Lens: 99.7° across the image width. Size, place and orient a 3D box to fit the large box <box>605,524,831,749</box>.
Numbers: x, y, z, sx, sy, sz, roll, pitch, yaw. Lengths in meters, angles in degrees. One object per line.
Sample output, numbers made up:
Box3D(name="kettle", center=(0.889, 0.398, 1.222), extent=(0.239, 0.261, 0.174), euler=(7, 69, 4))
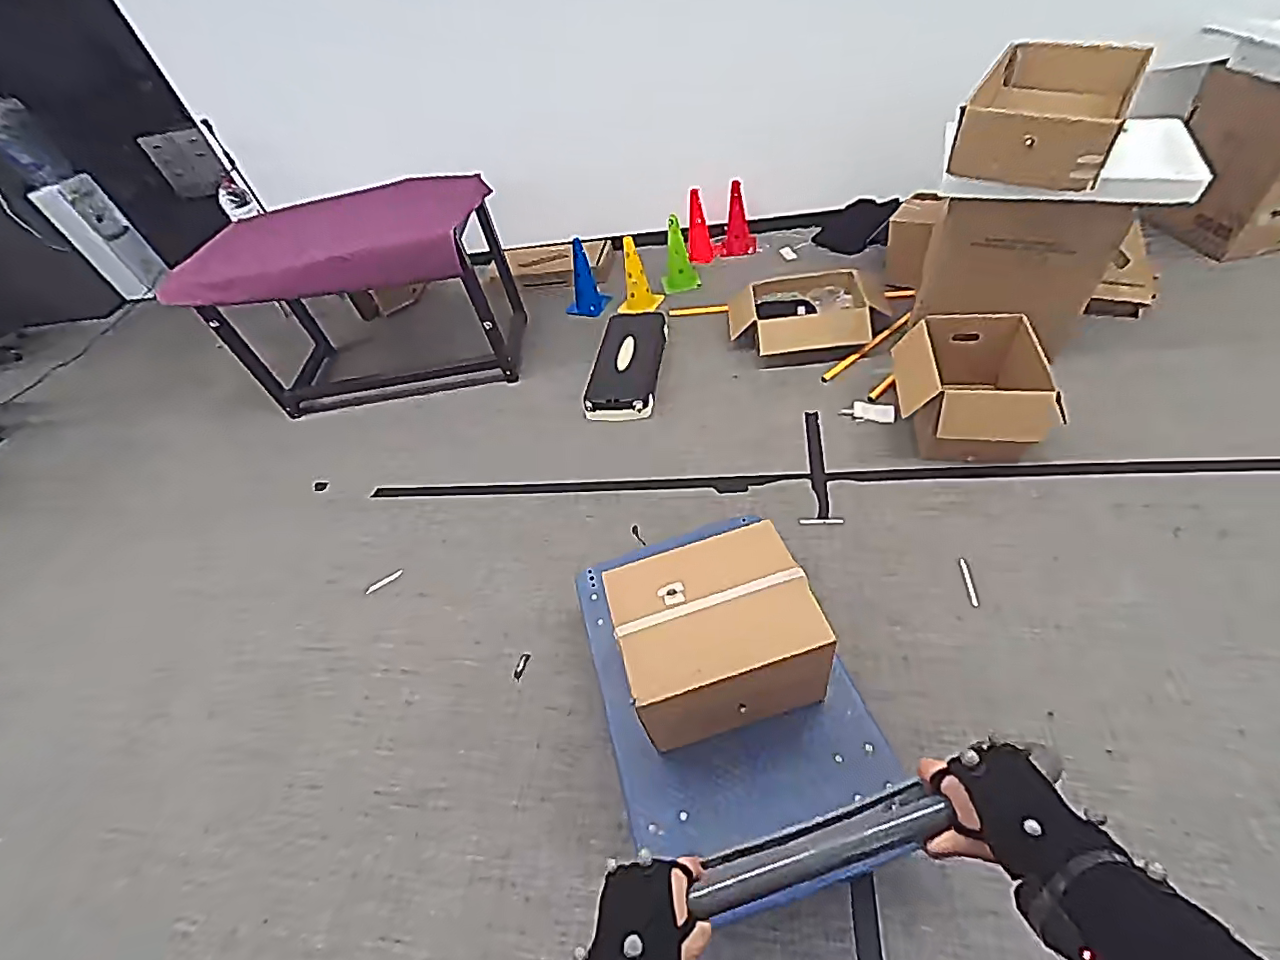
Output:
Box3D(name="large box", center=(0.175, 0.365, 1.247), extent=(0.408, 0.320, 0.320), euler=(-19, 47, -2))
